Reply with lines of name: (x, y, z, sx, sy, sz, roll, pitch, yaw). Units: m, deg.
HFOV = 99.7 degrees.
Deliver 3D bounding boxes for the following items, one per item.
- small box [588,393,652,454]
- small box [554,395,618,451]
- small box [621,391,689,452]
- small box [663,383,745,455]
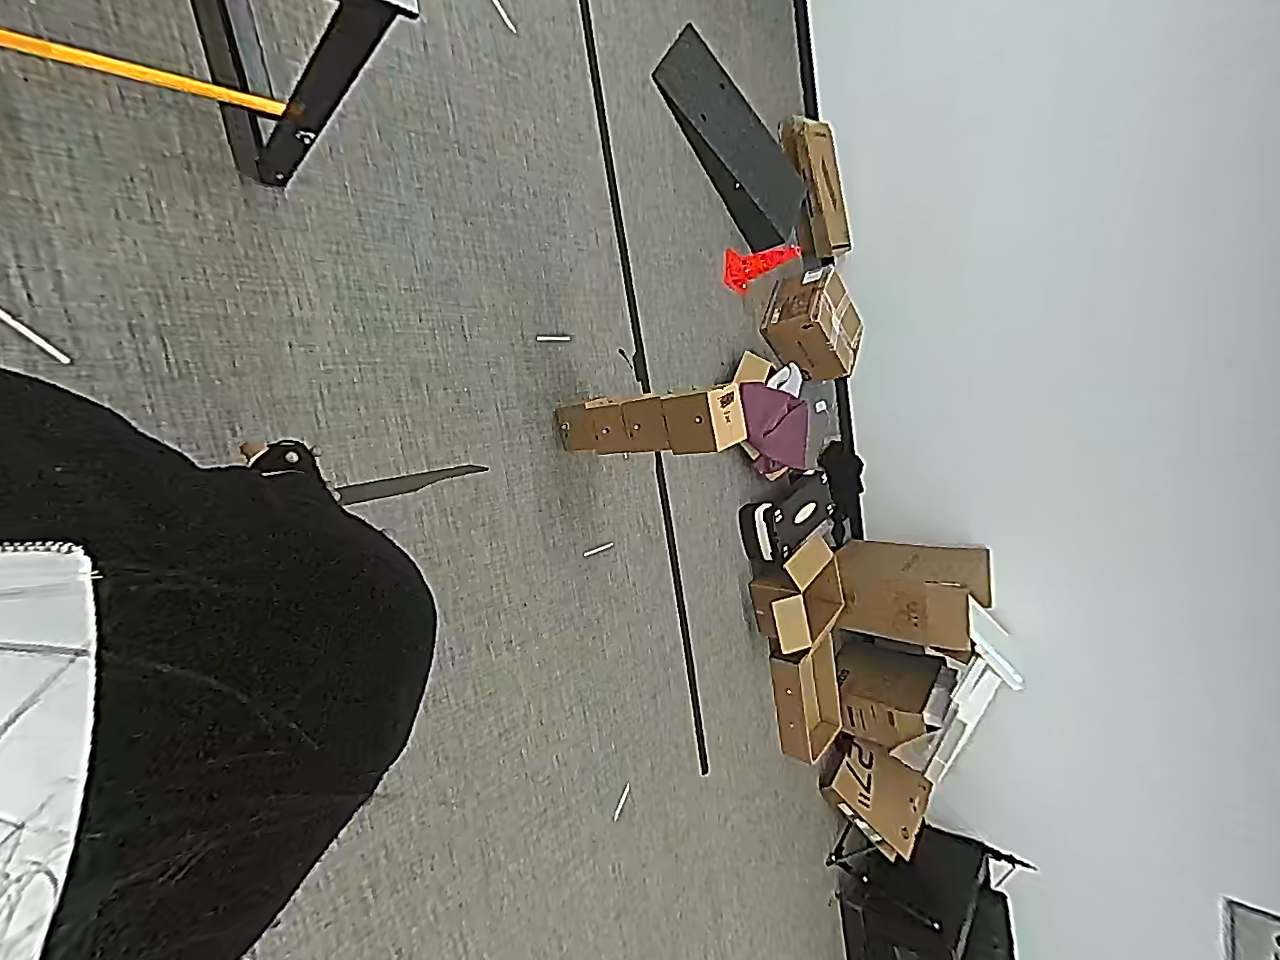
small box: (-0.058, -0.191, 1.839, 0.179, 0.176, 0.168, -26, 107, -43)
small box: (-0.179, -0.205, 1.950, 0.179, 0.176, 0.168, -24, 106, -43)
small box: (0.066, -0.187, 1.729, 0.179, 0.176, 0.168, -19, 102, -45)
small box: (0.187, -0.182, 1.618, 0.168, 0.176, 0.179, -24, 107, -44)
